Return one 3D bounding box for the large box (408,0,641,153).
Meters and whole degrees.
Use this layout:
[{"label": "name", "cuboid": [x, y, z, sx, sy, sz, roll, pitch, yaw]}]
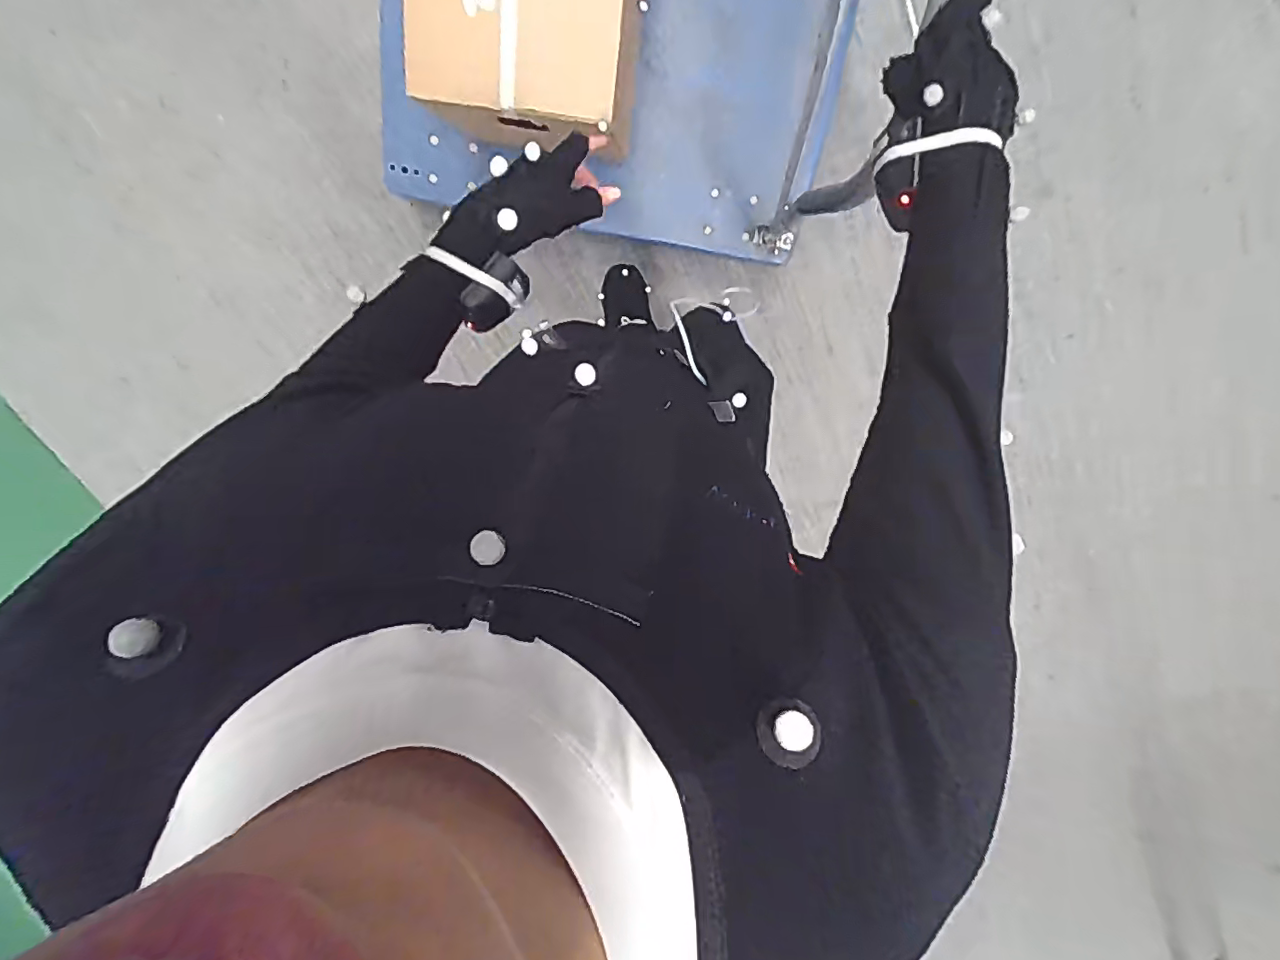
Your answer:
[{"label": "large box", "cuboid": [-0.159, -0.799, 0.870, 0.320, 0.320, 0.408, 9, 113, 1]}]
